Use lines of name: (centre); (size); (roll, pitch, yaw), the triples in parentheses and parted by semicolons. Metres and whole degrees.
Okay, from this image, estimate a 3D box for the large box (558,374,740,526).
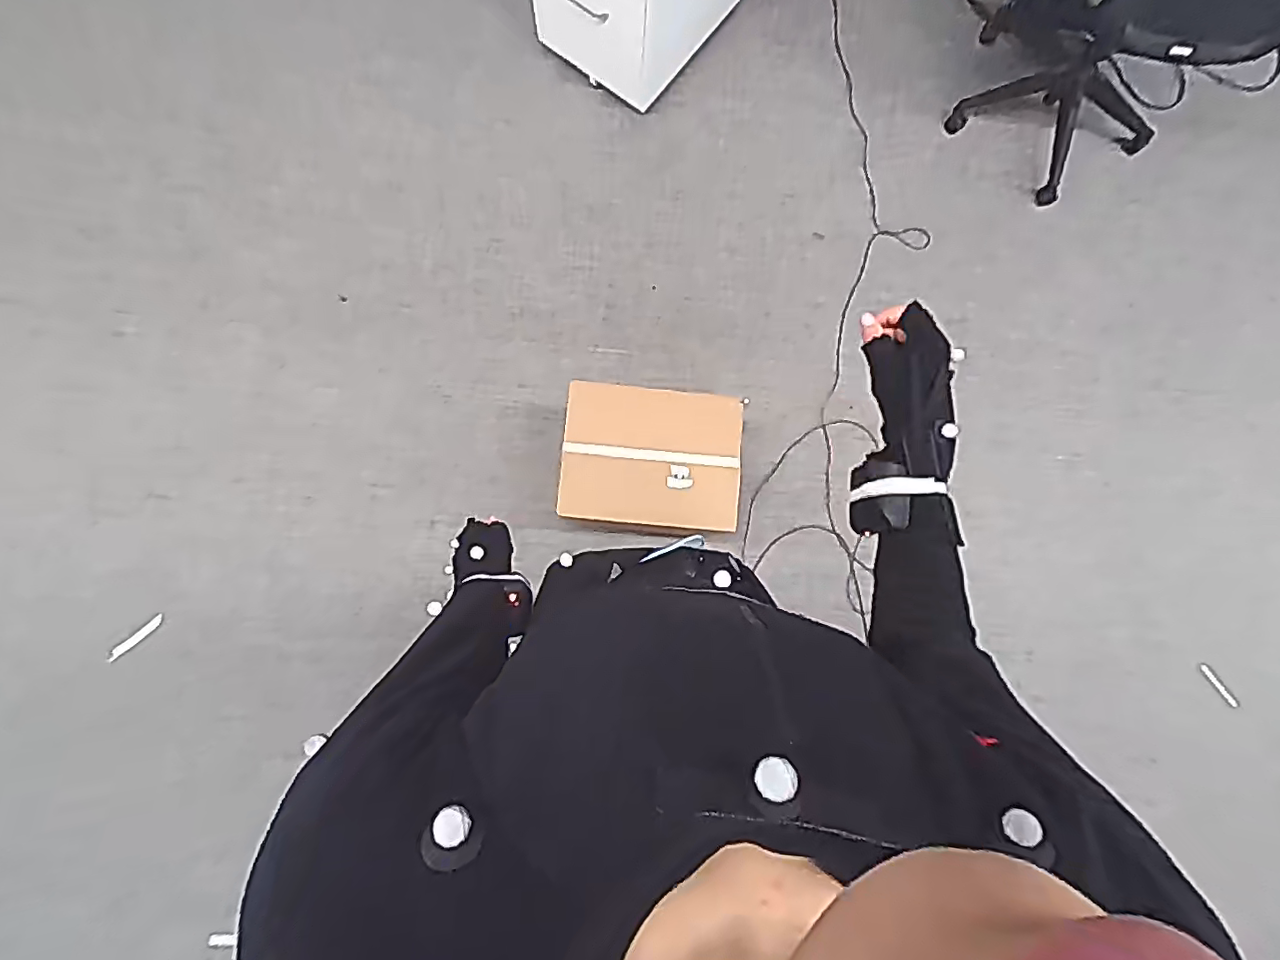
large box: (0.013, -0.058, 1.376); (0.408, 0.320, 0.320); (6, 83, -3)
